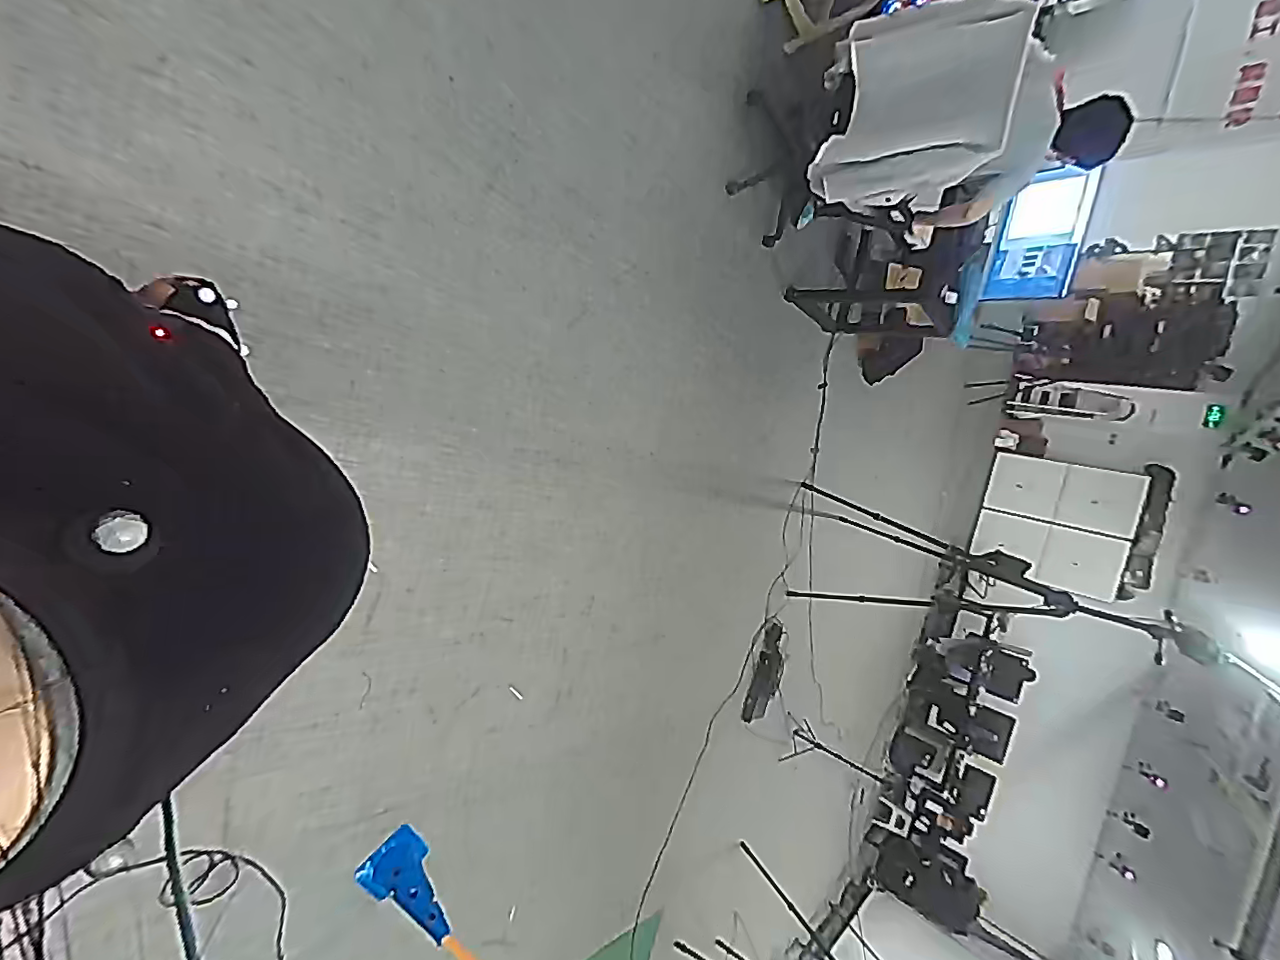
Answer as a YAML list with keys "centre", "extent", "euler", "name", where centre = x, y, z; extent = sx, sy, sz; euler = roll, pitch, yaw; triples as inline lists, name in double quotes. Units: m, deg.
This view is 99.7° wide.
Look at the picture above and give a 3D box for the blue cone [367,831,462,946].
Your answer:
- centre: [-0.690, 1.340, 1.733]
  extent: [0.193, 0.380, 0.192]
  euler: [-42, 130, -34]
  name: "blue cone"
